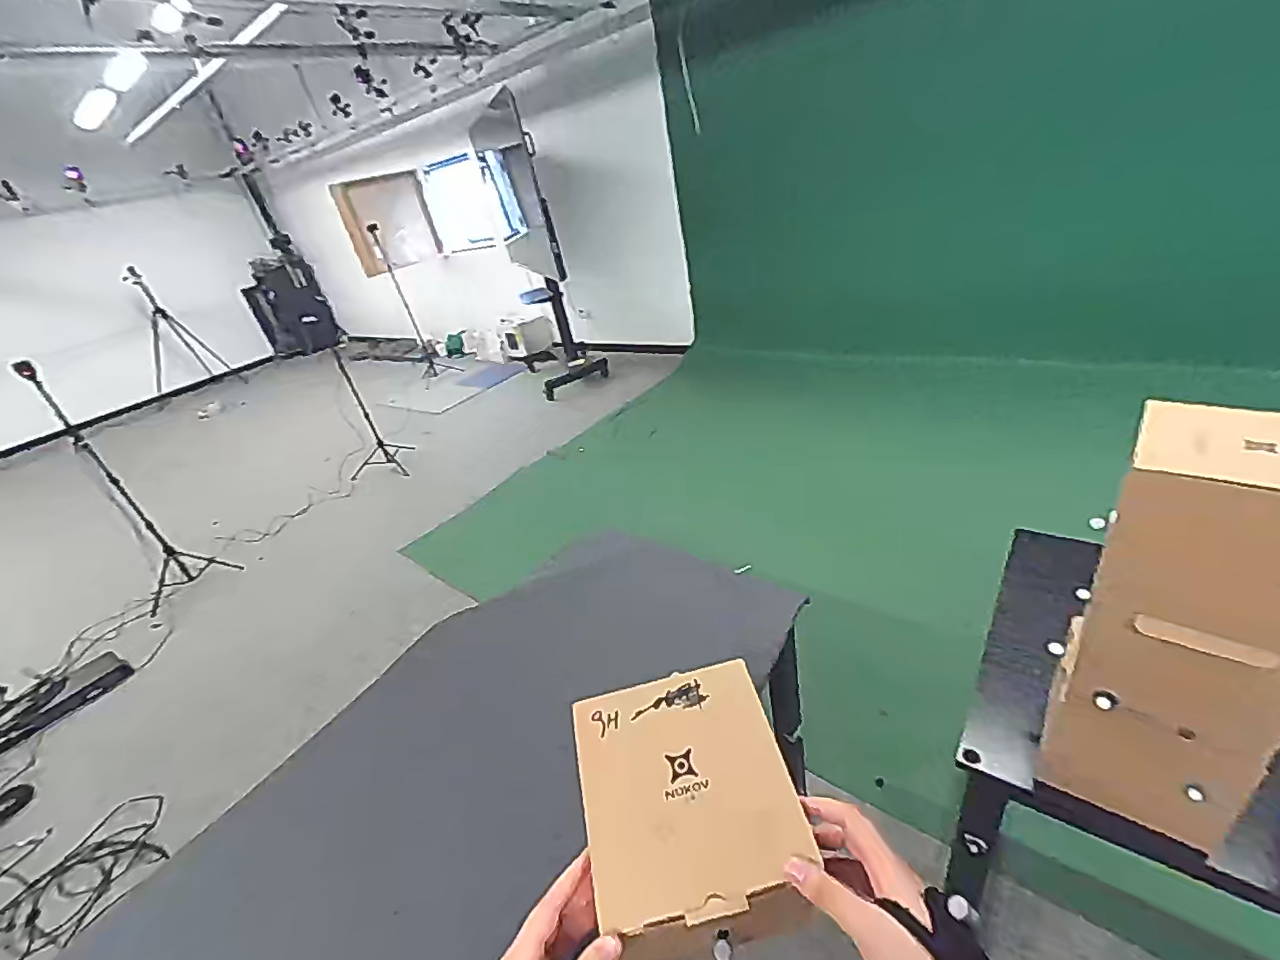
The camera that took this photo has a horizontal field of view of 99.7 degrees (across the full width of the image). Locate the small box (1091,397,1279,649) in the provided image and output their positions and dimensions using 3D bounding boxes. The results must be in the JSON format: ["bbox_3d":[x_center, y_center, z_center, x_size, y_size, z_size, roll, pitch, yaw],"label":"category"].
[{"bbox_3d":[0.578,0.037,0.525,0.179,0.176,0.168,15,39,39],"label":"small box"}]

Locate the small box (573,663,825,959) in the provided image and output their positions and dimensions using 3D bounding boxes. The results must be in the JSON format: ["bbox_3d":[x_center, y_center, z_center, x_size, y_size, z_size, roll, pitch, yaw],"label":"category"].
[{"bbox_3d":[0.046,0.299,0.481,0.168,0.176,0.179,-14,42,-4],"label":"small box"}]

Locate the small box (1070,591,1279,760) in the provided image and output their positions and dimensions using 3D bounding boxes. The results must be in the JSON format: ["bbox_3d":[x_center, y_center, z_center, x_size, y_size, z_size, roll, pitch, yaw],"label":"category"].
[{"bbox_3d":[0.615,0.170,0.612,0.168,0.176,0.179,16,40,38],"label":"small box"}]
